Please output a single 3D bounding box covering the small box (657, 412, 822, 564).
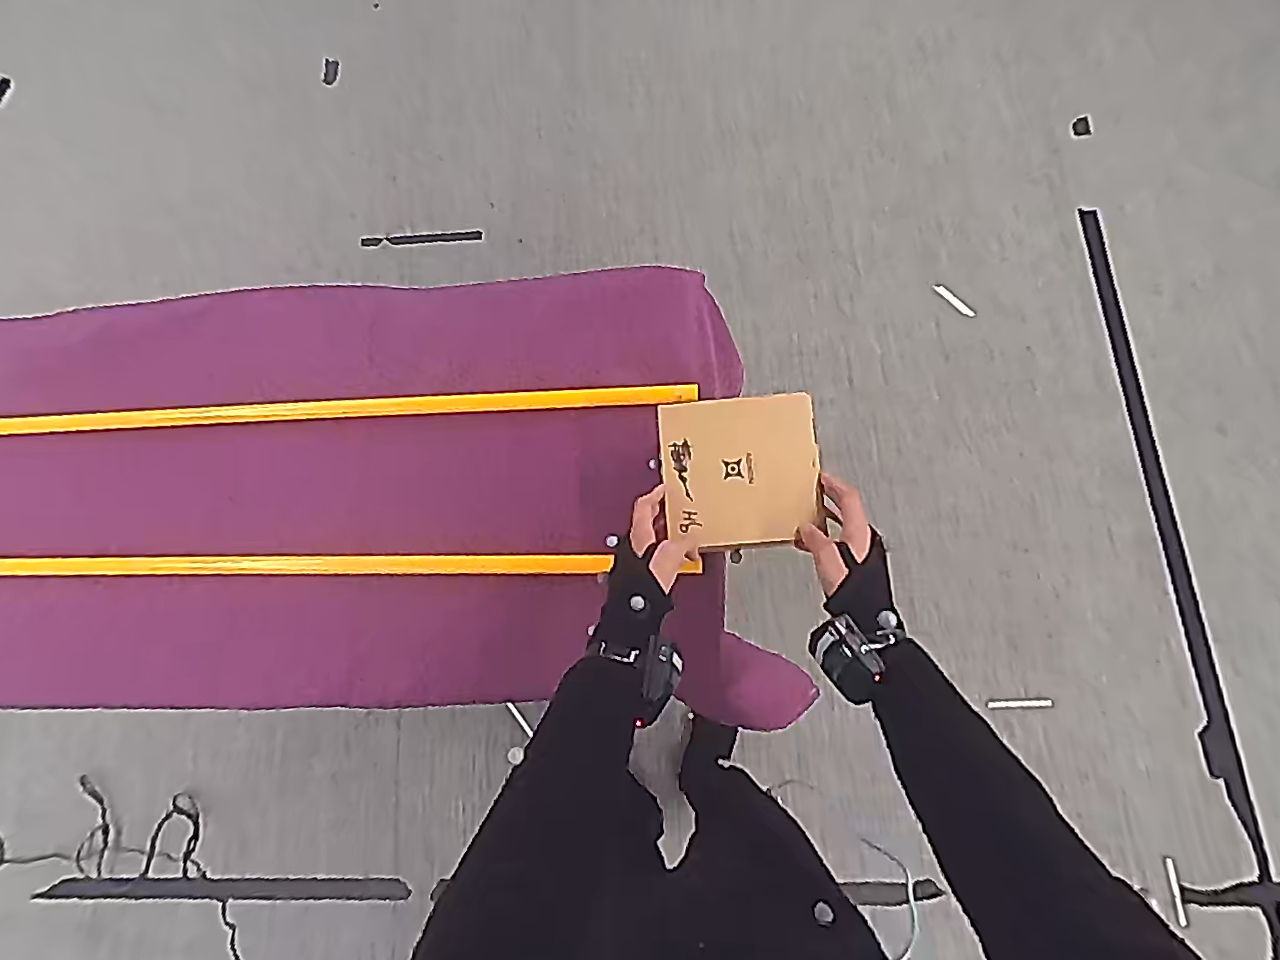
[{"bbox_3d":[0.113,0.019,0.685,0.179,0.176,0.168,-4,80,3],"label":"small box"}]
